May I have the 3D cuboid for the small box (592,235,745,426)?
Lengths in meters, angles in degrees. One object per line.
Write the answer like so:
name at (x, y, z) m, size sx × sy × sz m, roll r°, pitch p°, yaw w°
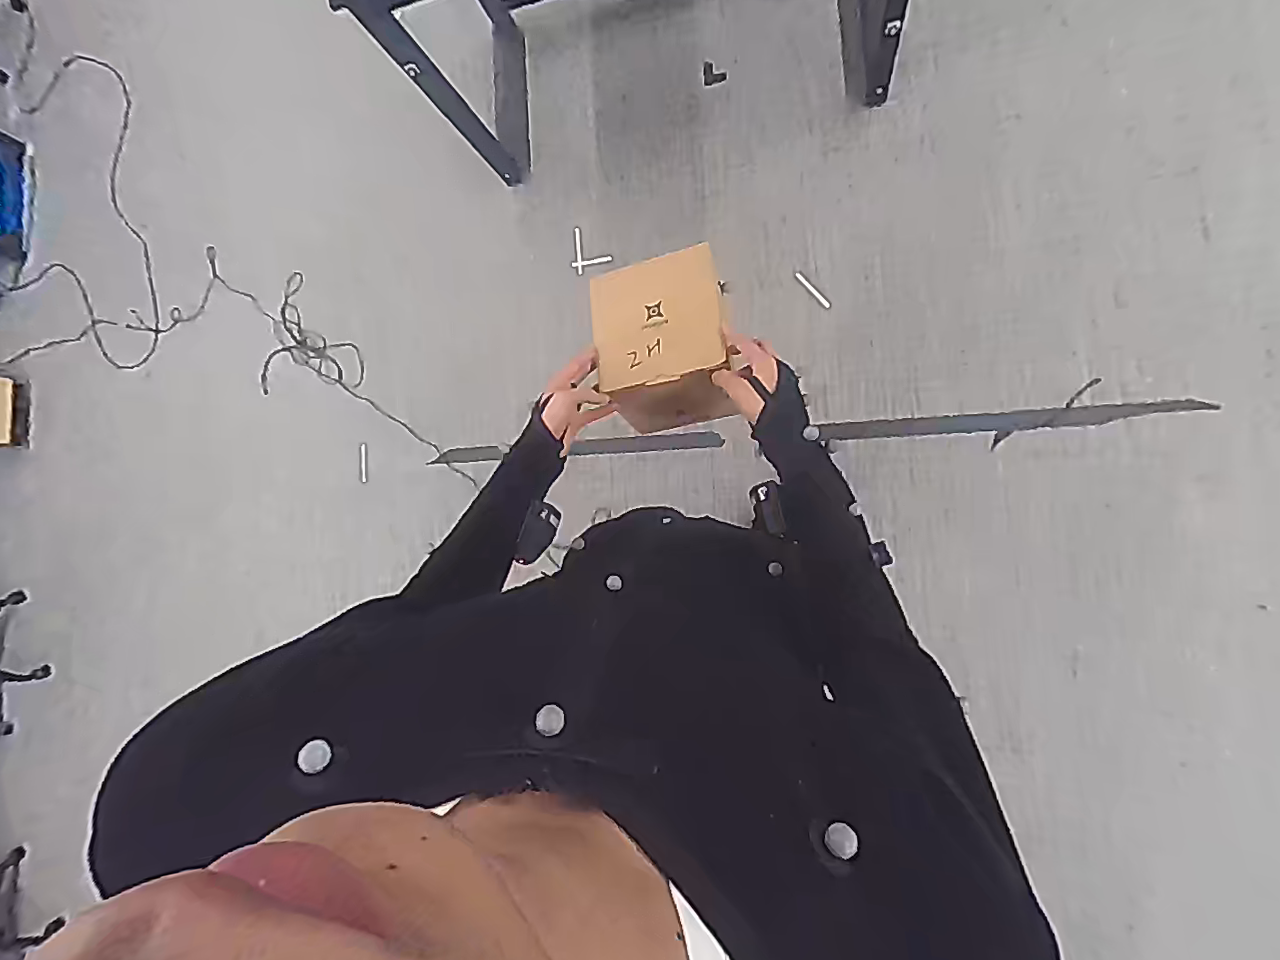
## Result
small box at (0.045, -0.194, 0.750) m, size 0.168 × 0.176 × 0.179 m, roll -11°, pitch 75°, yaw 17°
